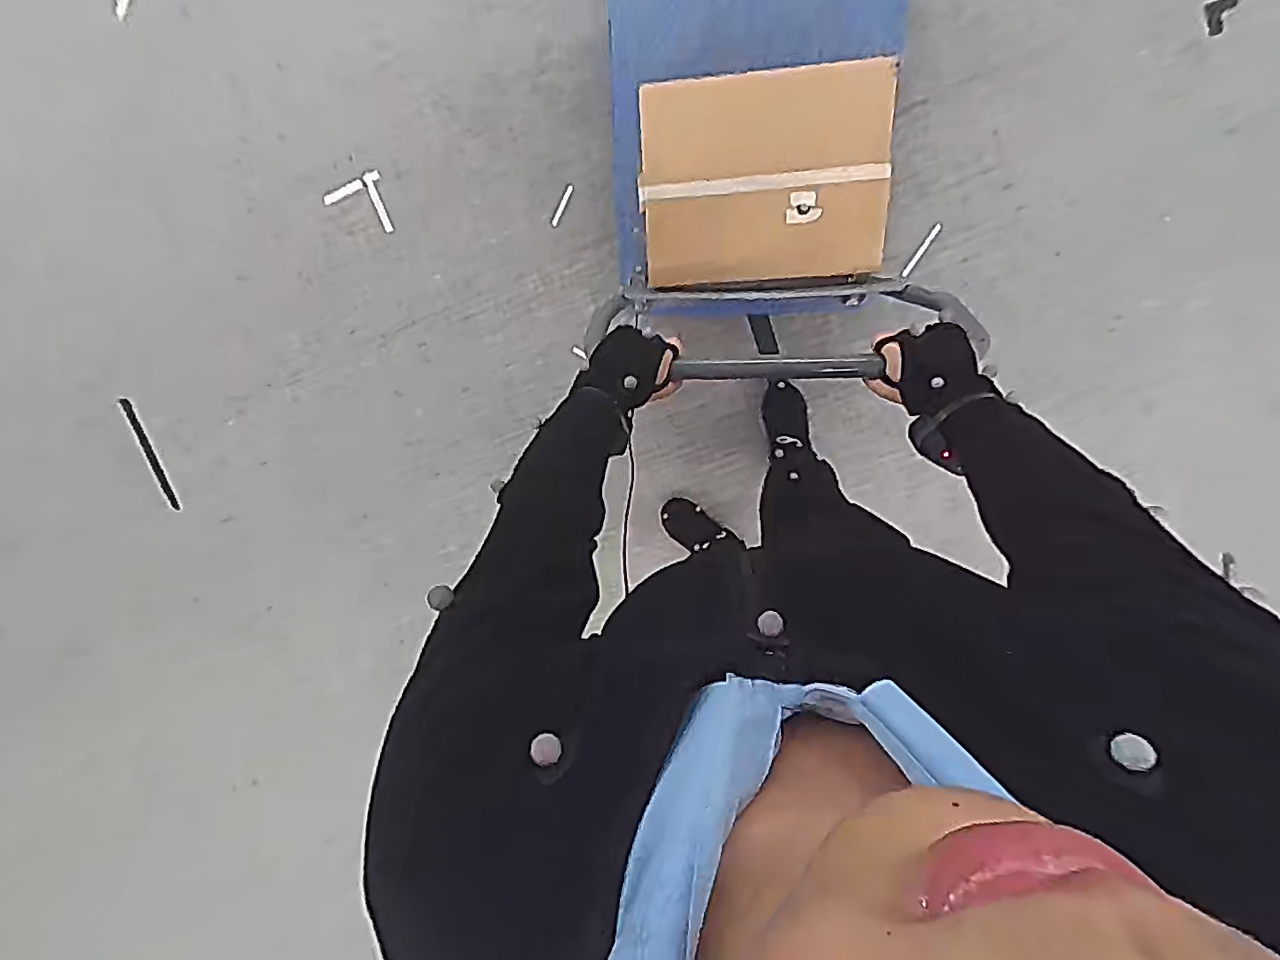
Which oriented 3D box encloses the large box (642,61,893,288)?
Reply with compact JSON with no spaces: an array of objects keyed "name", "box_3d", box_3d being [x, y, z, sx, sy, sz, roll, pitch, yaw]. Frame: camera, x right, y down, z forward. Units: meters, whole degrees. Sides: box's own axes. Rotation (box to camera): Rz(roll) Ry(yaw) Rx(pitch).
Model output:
[{"name":"large box","box_3d":[0.225,-0.557,1.058,0.408,0.320,0.320,-1,111,7]}]
